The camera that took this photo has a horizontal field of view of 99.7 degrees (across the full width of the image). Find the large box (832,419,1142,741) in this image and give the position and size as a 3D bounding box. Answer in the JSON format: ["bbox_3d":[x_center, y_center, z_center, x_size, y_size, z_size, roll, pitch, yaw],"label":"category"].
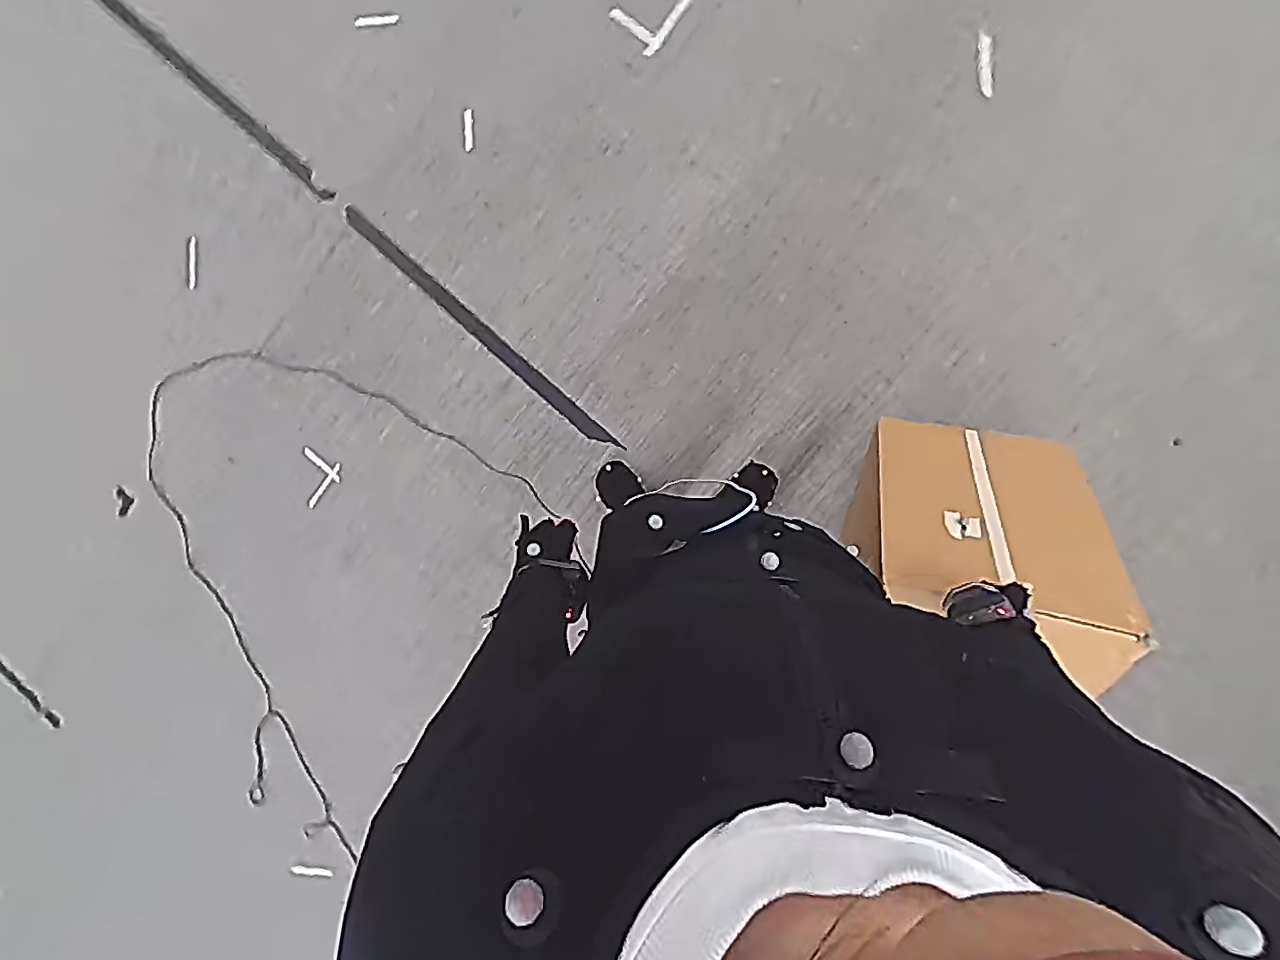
[{"bbox_3d":[0.522,0.150,0.925,0.320,0.408,0.320,10,133,15],"label":"large box"}]
